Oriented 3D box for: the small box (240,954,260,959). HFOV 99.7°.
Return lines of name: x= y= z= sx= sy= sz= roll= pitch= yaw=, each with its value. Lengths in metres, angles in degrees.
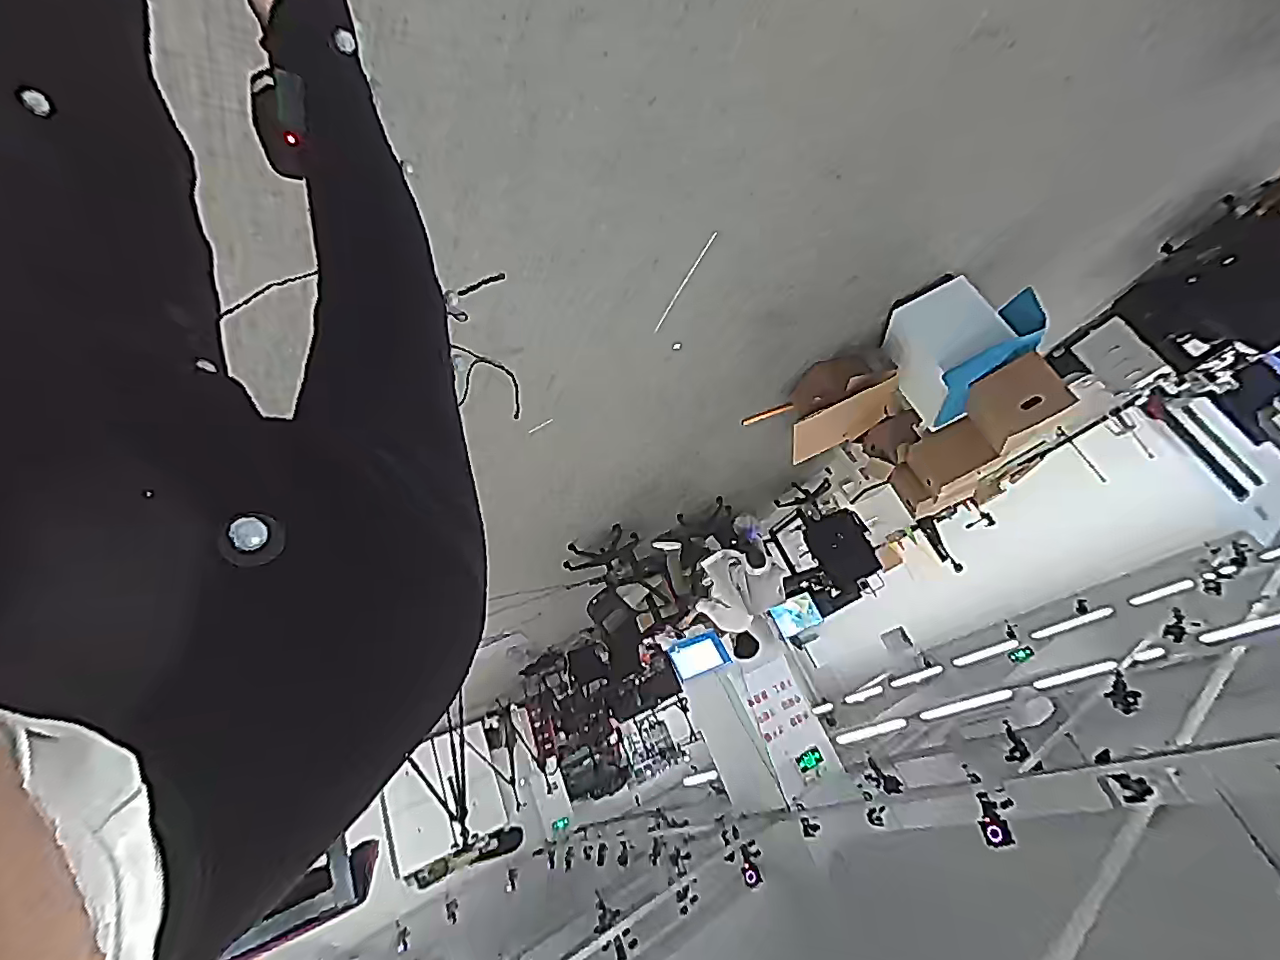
small box: x=-1.082 y=1.377 z=1.402 sx=0.168 sy=0.176 sz=0.179 roll=-10 pitch=154 yaw=-35
